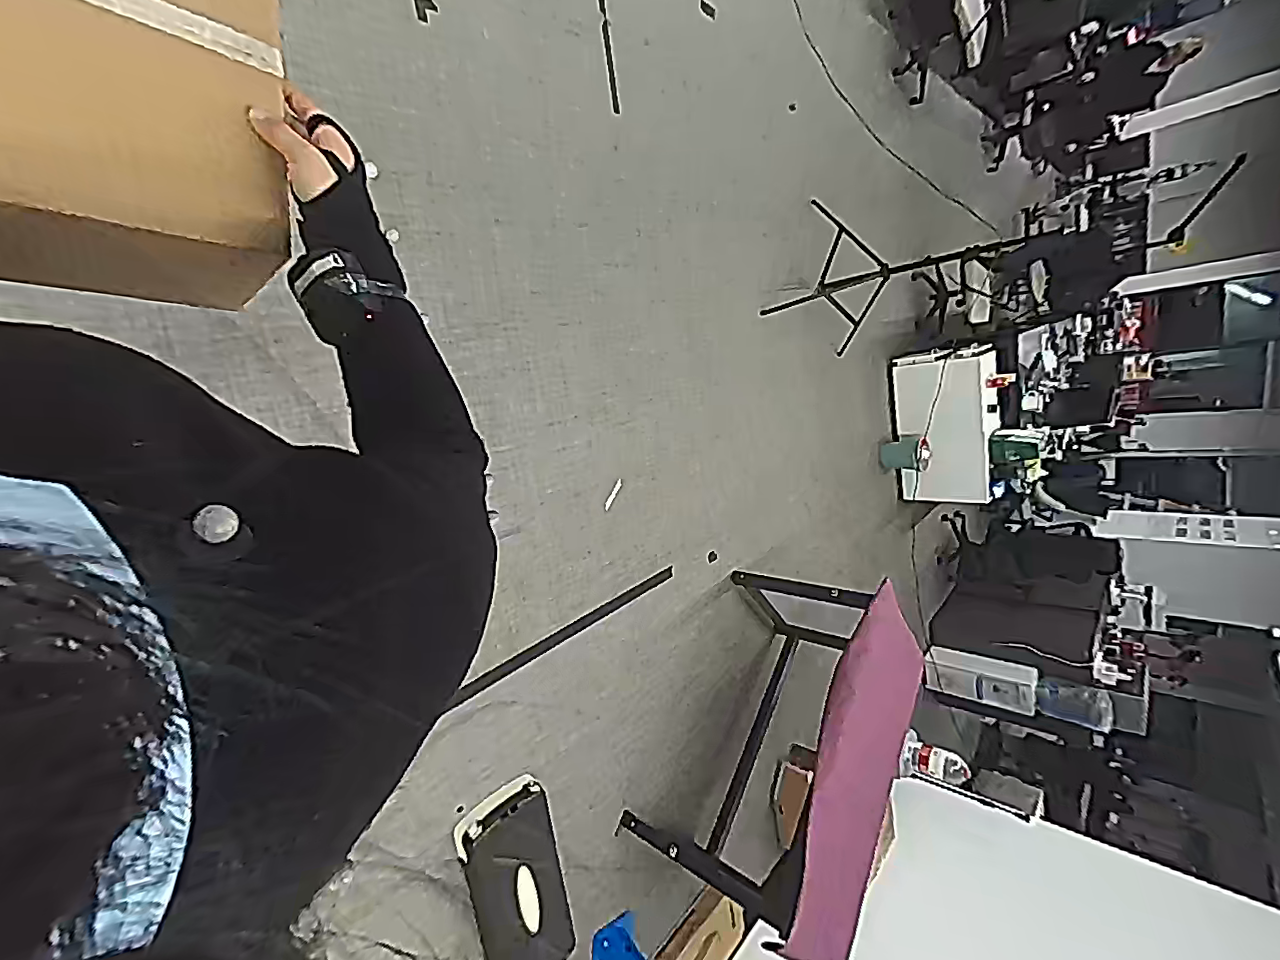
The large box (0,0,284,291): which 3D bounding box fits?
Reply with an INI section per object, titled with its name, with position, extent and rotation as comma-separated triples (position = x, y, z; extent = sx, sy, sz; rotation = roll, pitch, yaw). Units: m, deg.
[large box]
position = -0.565, -0.361, 0.441
extent = 0.408, 0.320, 0.320
rotation = -5, 97, -44
